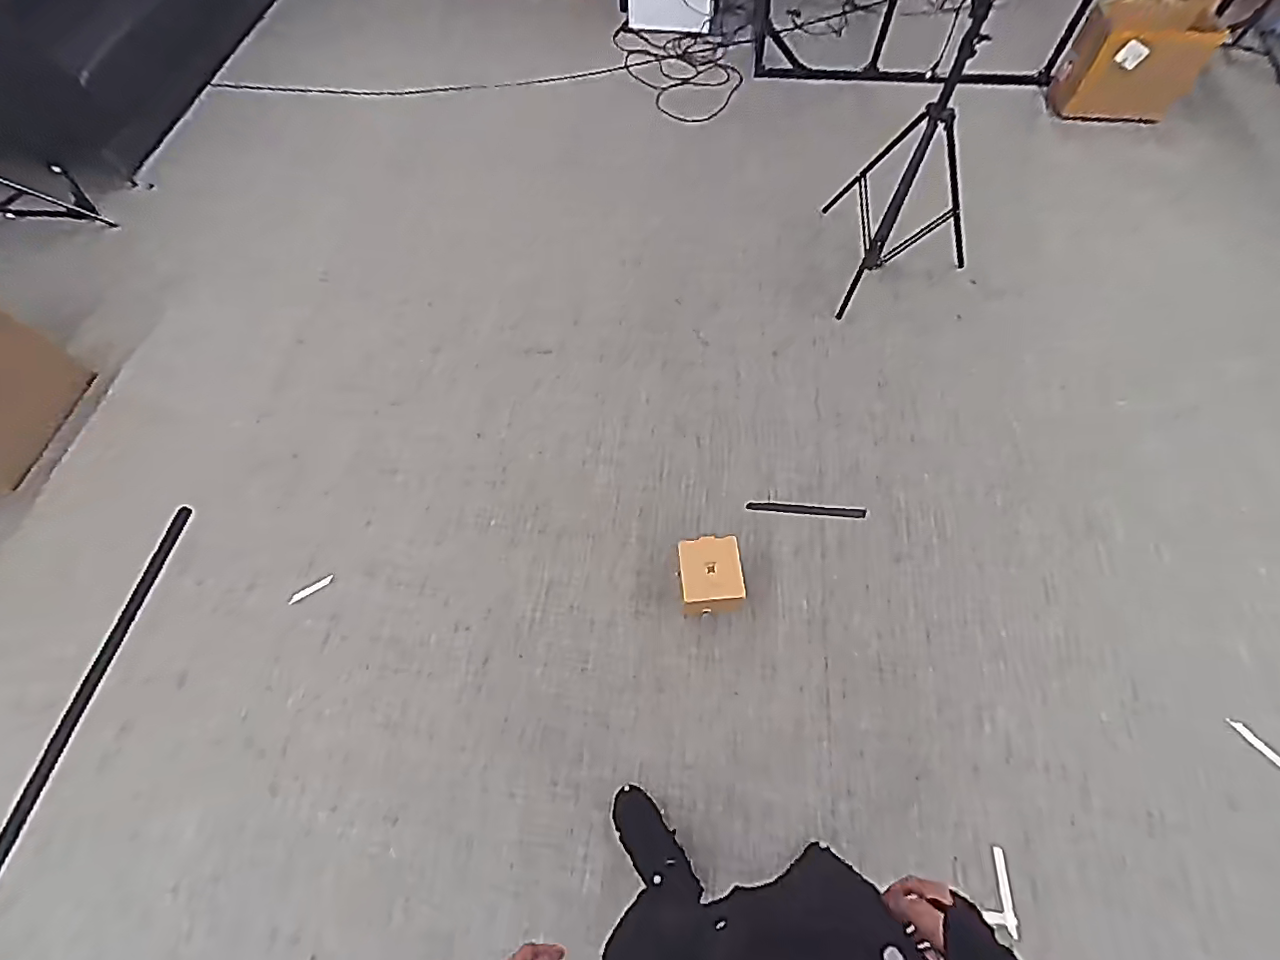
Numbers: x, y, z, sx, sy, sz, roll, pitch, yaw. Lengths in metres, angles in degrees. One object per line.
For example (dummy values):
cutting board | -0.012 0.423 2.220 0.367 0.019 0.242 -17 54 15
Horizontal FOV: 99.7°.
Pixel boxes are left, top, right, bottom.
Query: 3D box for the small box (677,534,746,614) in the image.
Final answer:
small box | 0.195 0.268 1.524 0.168 0.176 0.179 -5 63 0
